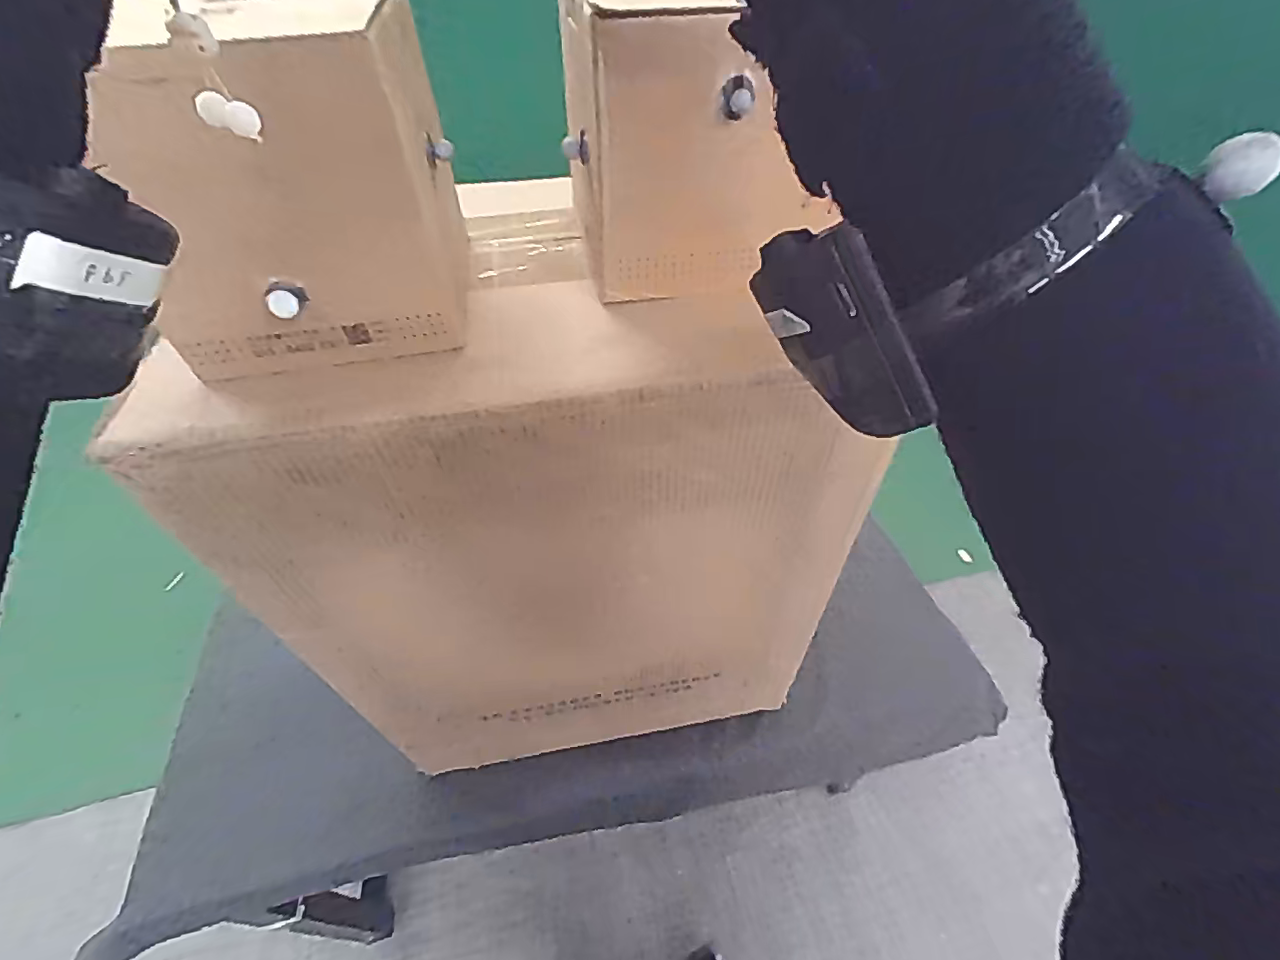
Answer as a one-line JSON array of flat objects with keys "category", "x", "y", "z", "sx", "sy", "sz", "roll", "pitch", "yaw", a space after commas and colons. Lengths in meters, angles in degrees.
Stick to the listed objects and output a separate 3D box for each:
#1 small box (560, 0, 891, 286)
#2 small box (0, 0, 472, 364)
[{"category": "small box", "x": 0.041, "y": -0.260, "z": 0.401, "sx": 0.179, "sy": 0.176, "sz": 0.168, "roll": -7, "pitch": 51, "yaw": -9}, {"category": "small box", "x": -0.212, "y": -0.199, "z": 0.349, "sx": 0.168, "sy": 0.176, "sz": 0.179, "roll": -9, "pitch": 50, "yaw": -7}]
